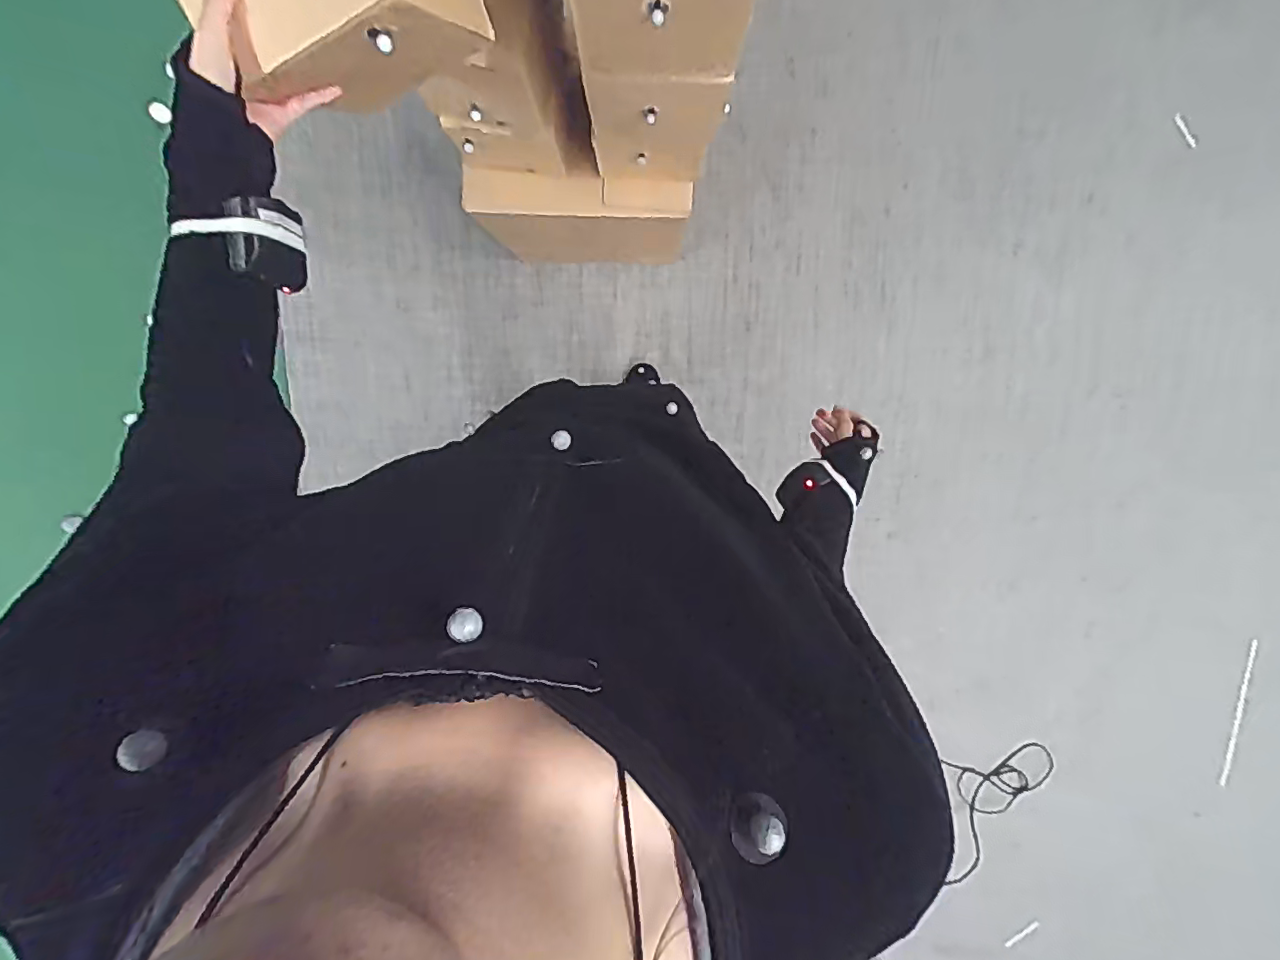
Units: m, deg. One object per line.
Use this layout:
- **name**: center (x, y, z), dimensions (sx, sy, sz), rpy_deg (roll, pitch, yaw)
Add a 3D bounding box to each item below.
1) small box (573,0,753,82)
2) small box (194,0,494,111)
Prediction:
- **small box**: center (0.022, -0.518, 0.522), dimensions (0.179, 0.176, 0.168), rpy_deg (0, 102, 0)
- **small box**: center (-0.259, -0.443, 0.459), dimensions (0.179, 0.176, 0.168), rpy_deg (-11, 115, 19)
